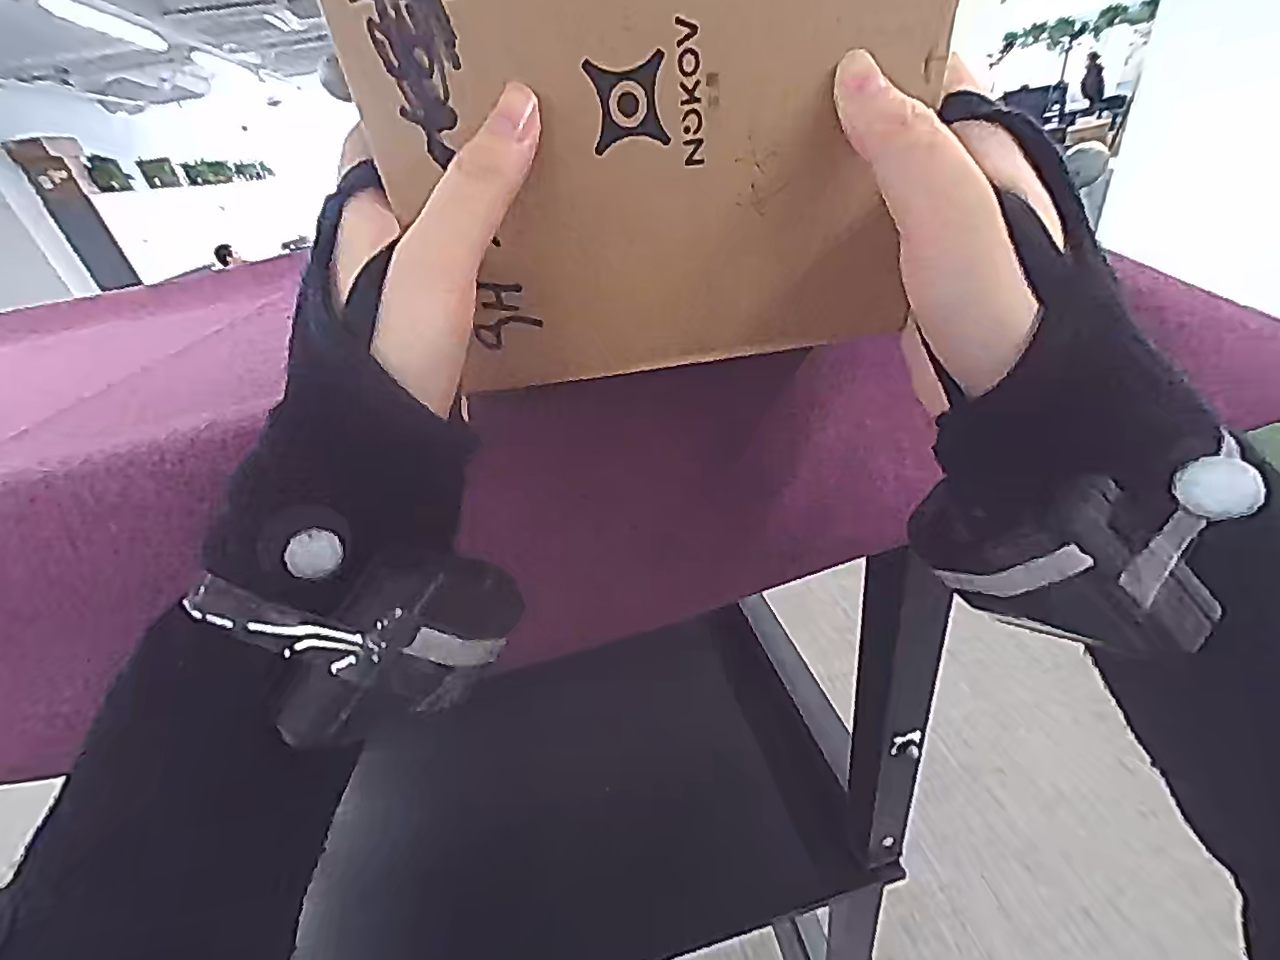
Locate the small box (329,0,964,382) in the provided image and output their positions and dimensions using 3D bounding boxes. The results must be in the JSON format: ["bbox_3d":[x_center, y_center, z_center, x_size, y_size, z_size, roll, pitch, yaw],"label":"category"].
[{"bbox_3d":[0.000,-0.160,0.222,0.179,0.168,0.176,-8,35,0],"label":"small box"}]
